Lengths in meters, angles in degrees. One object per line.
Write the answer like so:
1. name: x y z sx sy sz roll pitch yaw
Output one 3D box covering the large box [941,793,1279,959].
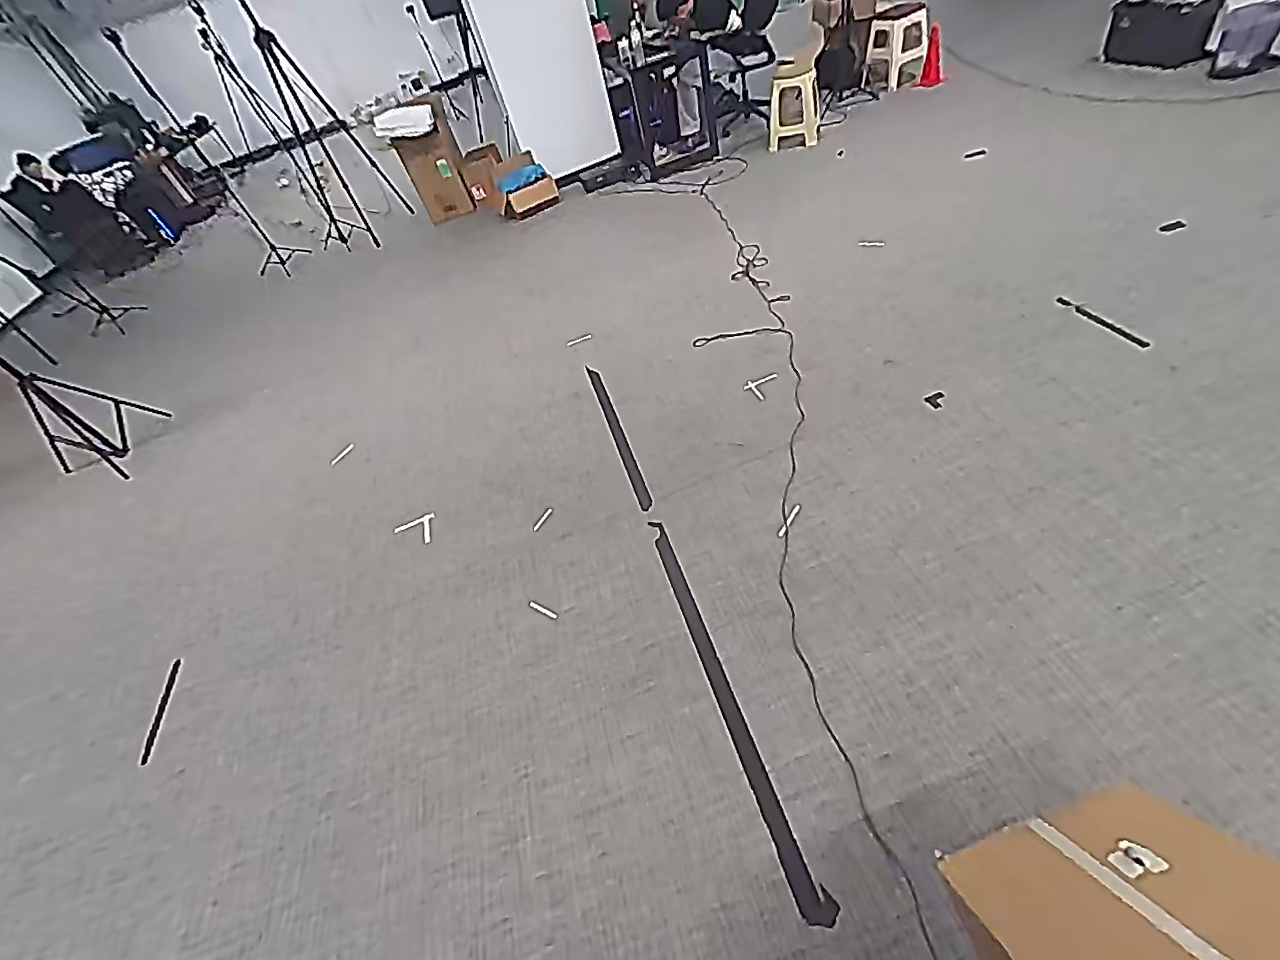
1. large box: 0.635 0.636 0.587 0.320 0.408 0.320 -22 82 0
